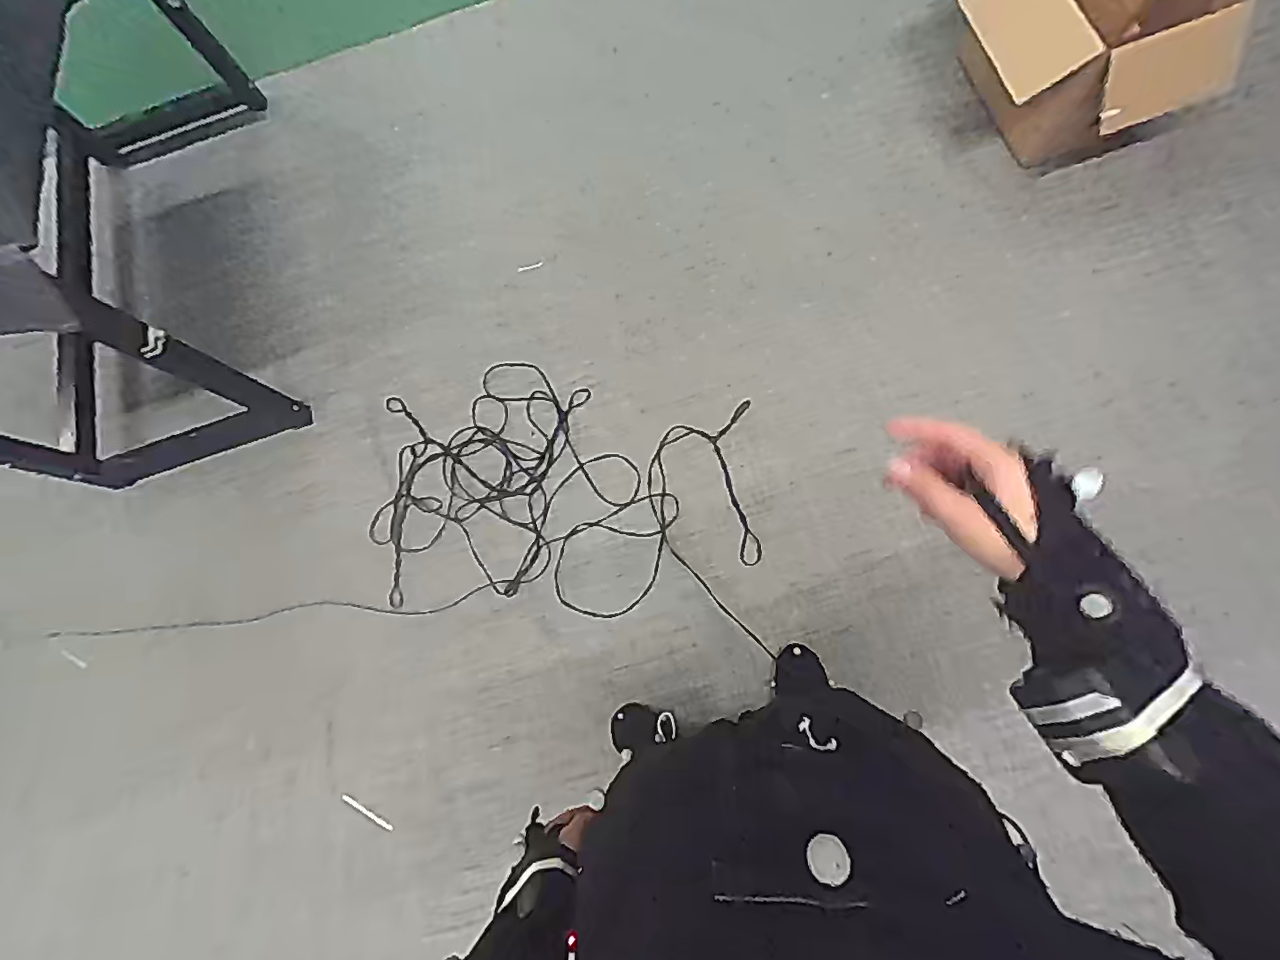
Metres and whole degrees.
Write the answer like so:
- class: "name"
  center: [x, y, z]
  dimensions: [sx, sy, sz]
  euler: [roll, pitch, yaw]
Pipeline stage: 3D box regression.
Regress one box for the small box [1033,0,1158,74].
- class: "small box"
  center: [1.035, -1.066, 1.201]
  dimensions: [0.179, 0.176, 0.168]
  euler: [-44, 76, -6]
